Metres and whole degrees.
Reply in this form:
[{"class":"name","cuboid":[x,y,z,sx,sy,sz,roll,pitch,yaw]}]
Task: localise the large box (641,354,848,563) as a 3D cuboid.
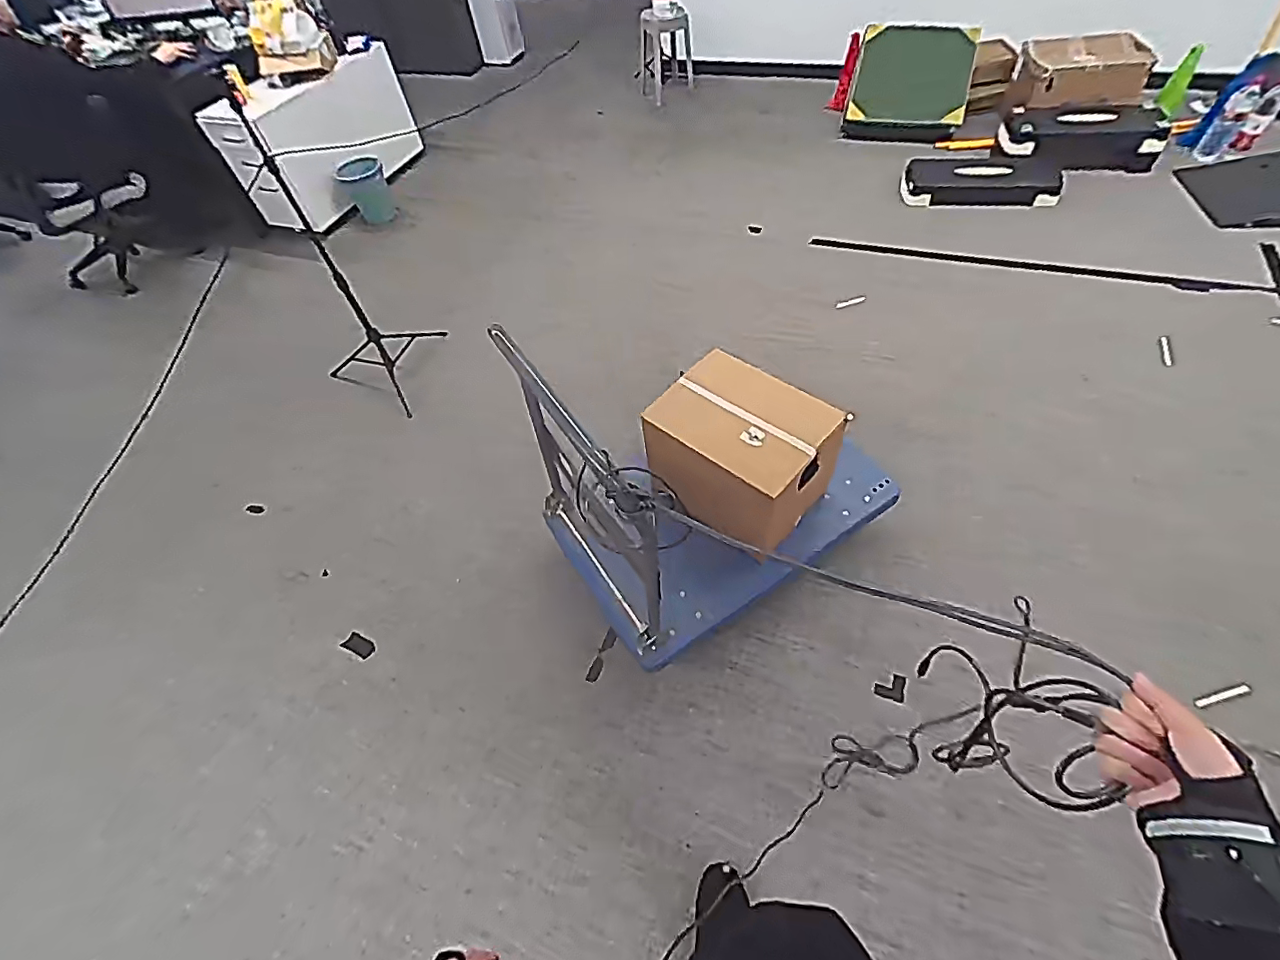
[{"class":"large box","cuboid":[0.258,-0.059,1.428,0.408,0.320,0.320,35,66,26]}]
